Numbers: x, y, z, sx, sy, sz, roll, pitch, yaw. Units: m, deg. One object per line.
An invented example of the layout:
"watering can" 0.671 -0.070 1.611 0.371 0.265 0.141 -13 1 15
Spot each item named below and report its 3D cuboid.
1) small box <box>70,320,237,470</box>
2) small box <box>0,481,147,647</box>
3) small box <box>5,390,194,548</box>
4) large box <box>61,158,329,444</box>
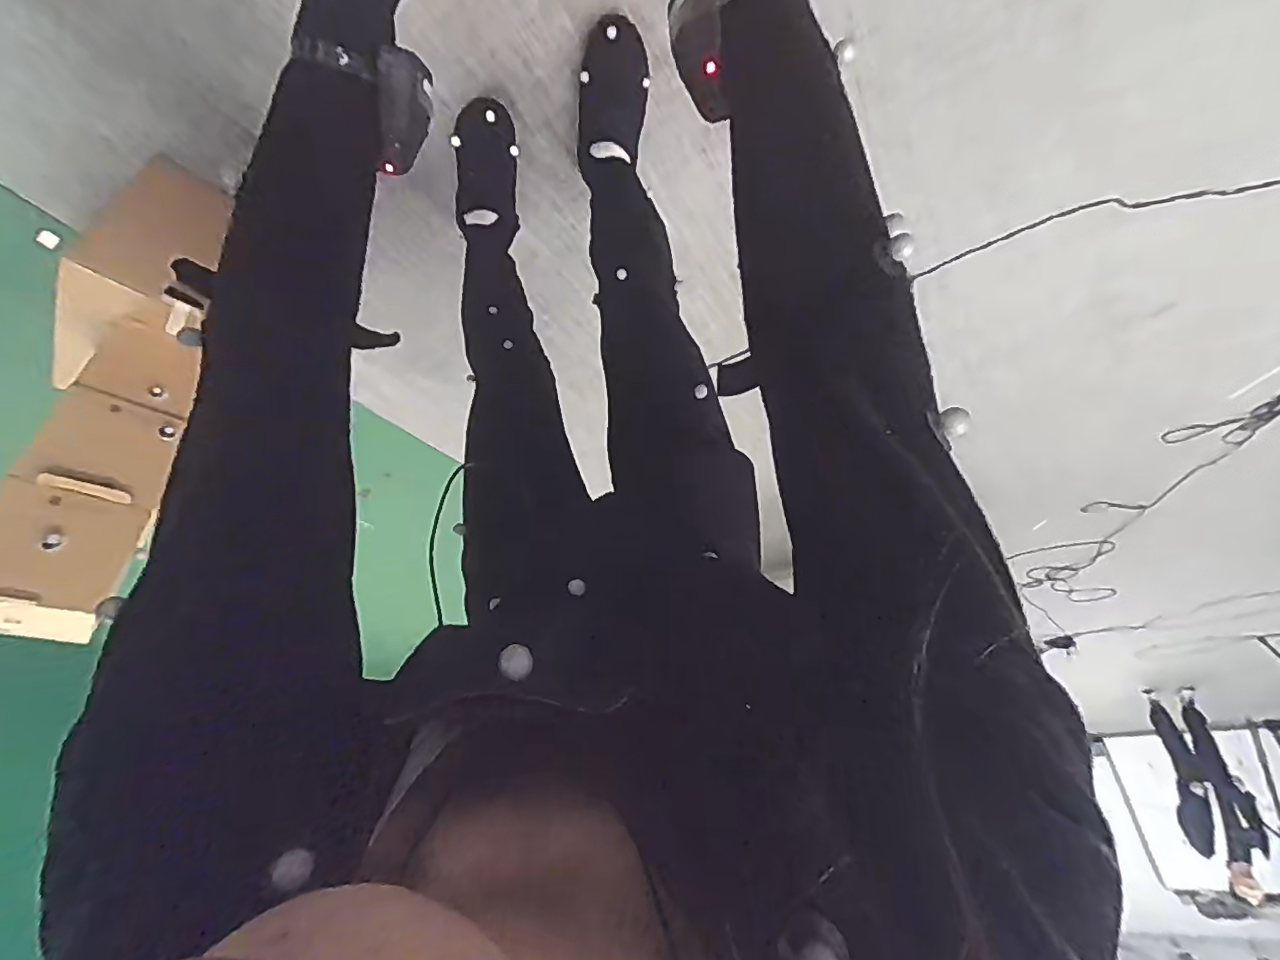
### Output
"small box" -0.863 -0.149 0.965 0.179 0.176 0.168 27 137 -36
"small box" -0.861 0.124 0.782 0.168 0.176 0.179 27 136 -36
"small box" -0.860 -0.014 0.872 0.168 0.176 0.179 26 138 -35
"large box" -0.904 -0.341 1.116 0.320 0.320 0.408 28 139 -35
